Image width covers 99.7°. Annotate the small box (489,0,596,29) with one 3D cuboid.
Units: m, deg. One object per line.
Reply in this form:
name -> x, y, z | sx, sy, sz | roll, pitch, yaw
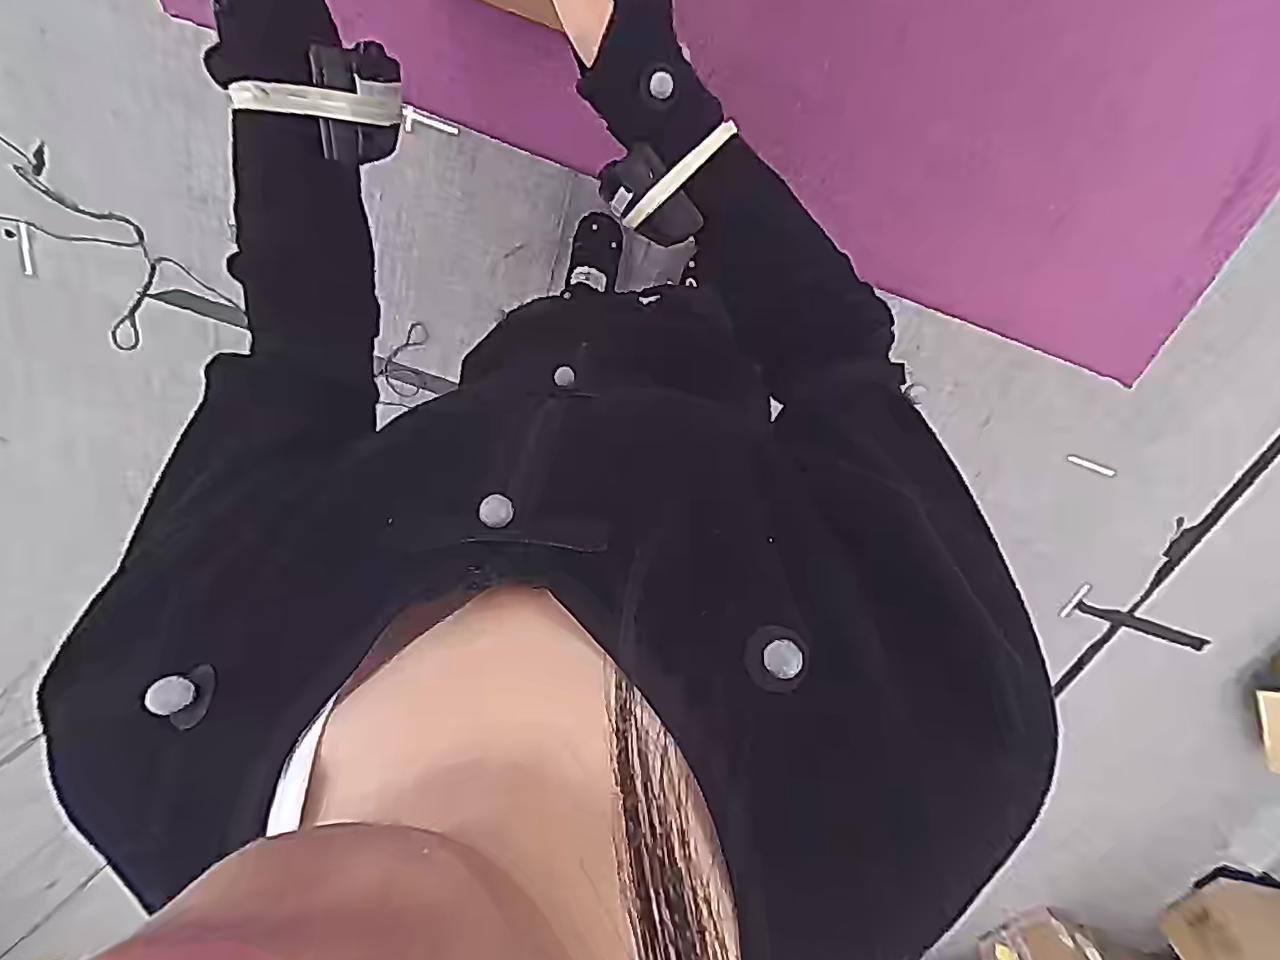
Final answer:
small box -> -0.109, -0.519, 0.449 | 0.179, 0.176, 0.168 | 17, 114, -7
